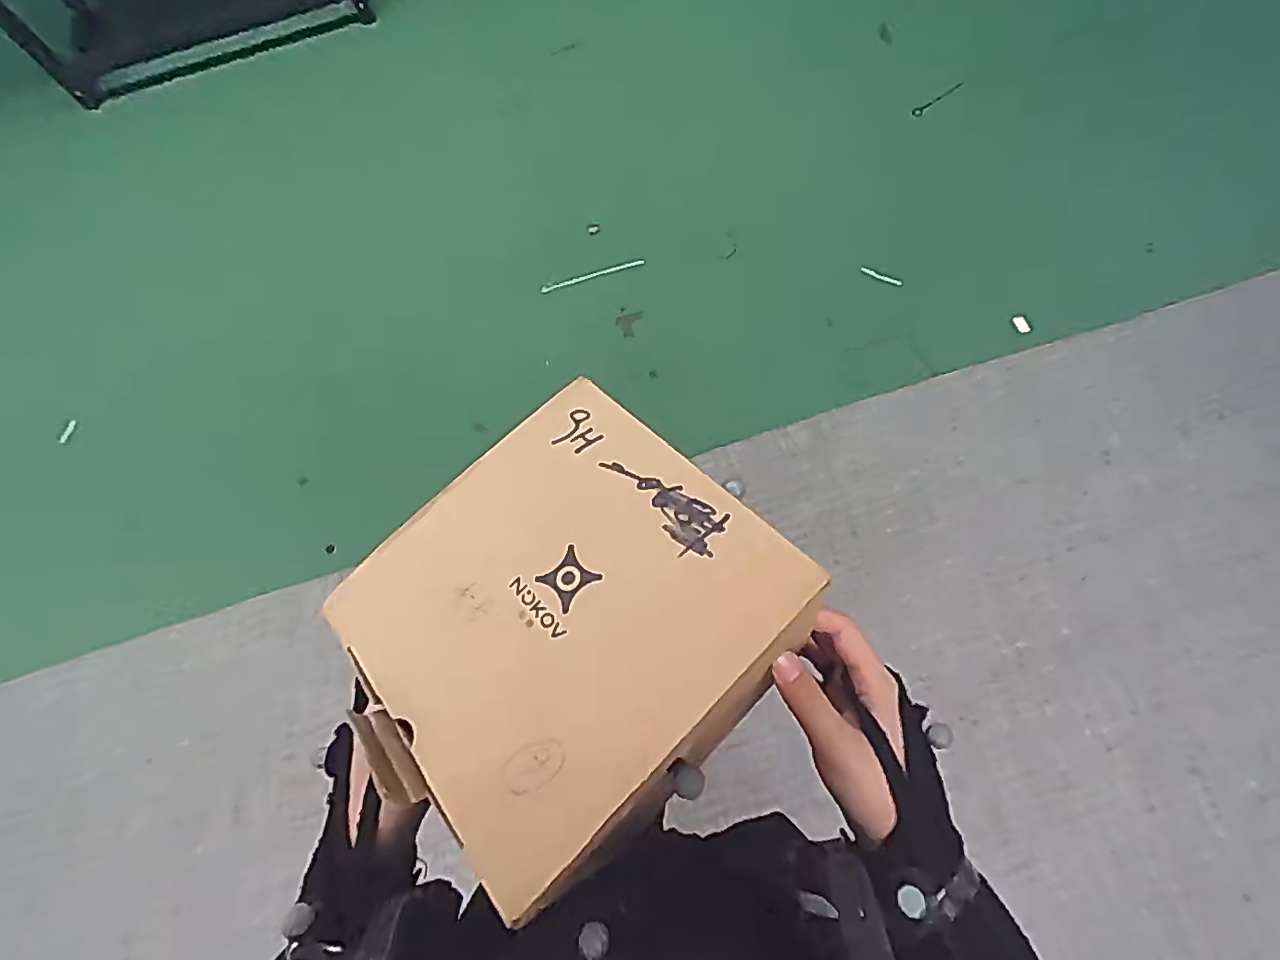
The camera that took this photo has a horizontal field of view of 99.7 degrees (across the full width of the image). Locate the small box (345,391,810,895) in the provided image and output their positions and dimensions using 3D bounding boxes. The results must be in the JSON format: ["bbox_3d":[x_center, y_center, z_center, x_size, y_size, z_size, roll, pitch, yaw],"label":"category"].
[{"bbox_3d":[-0.021,0.089,0.324,0.179,0.176,0.168,-44,63,-11],"label":"small box"}]
